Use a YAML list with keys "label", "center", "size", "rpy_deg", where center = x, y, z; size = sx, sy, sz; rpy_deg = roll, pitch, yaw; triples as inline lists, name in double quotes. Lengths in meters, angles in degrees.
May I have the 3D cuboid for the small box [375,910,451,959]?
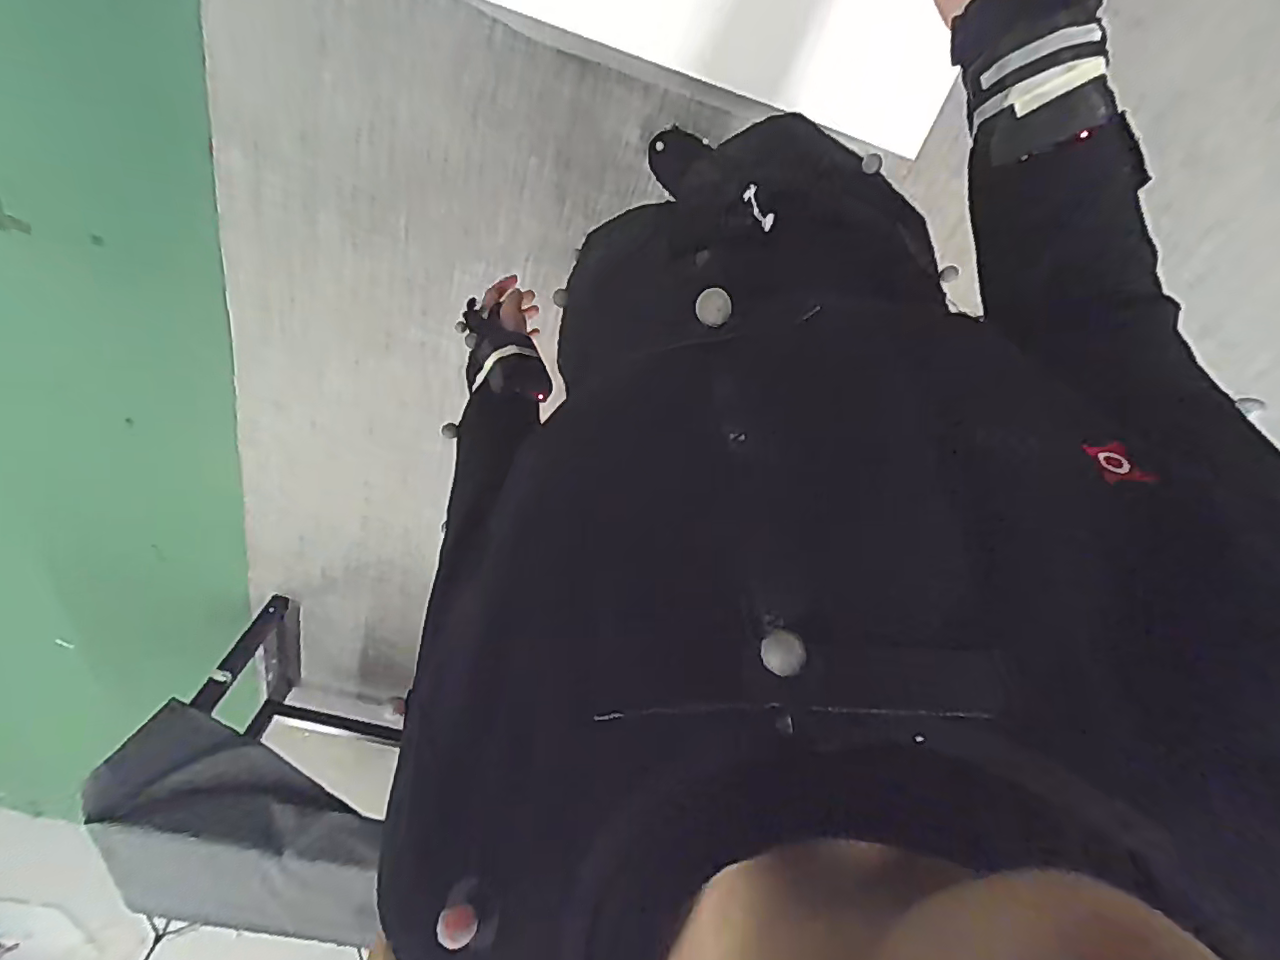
- label: "small box"
  center: [-0.620, 1.307, 1.469]
  size: [0.168, 0.176, 0.179]
  rpy_deg: [11, 124, -5]
